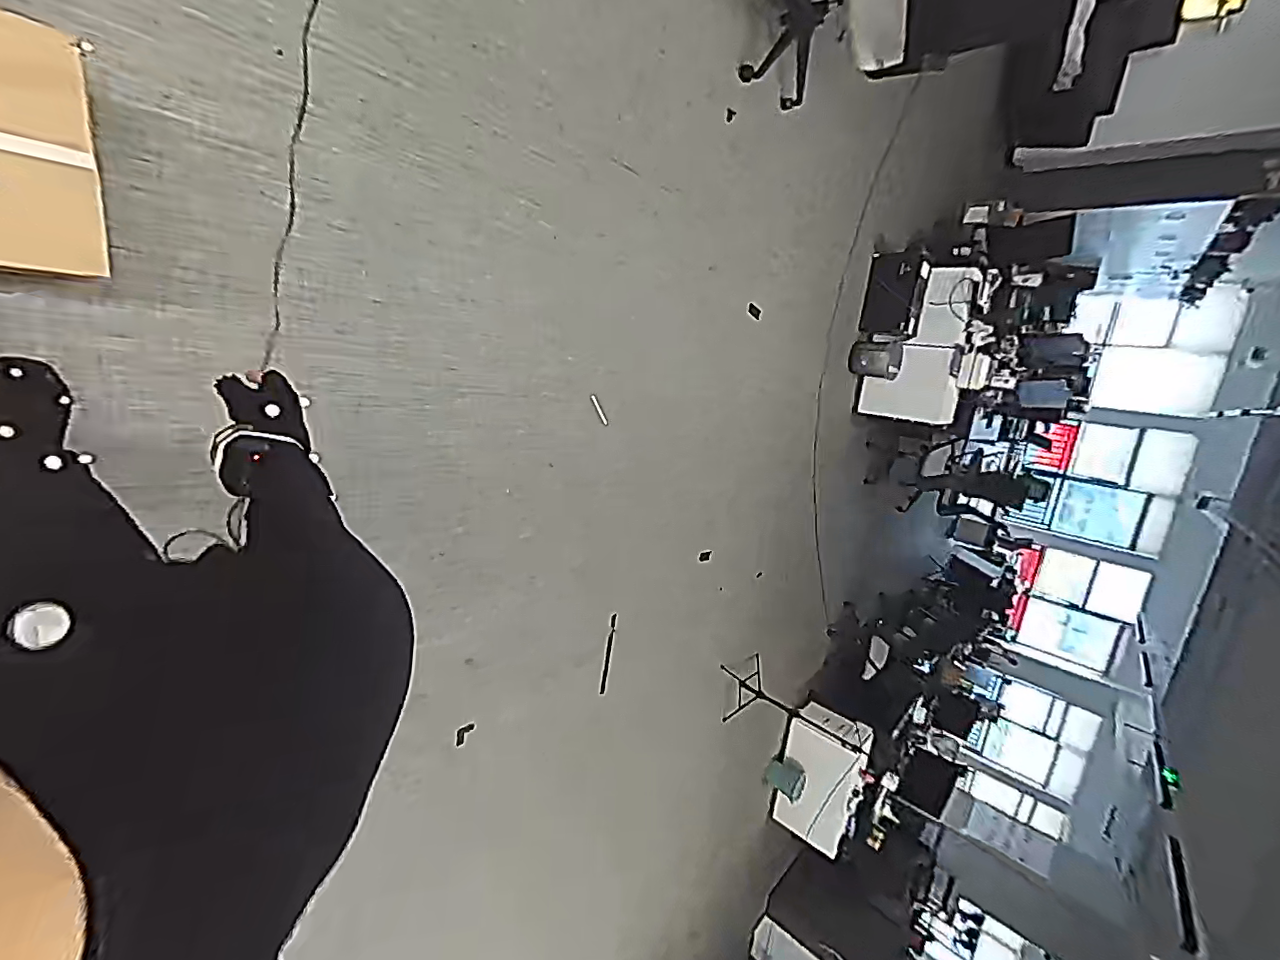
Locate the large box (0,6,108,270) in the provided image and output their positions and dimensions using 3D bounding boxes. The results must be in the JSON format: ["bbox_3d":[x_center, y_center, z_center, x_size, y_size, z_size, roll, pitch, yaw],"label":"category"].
[{"bbox_3d":[-1.032,-0.473,0.721,0.408,0.320,0.320,-11,112,-49],"label":"large box"}]
